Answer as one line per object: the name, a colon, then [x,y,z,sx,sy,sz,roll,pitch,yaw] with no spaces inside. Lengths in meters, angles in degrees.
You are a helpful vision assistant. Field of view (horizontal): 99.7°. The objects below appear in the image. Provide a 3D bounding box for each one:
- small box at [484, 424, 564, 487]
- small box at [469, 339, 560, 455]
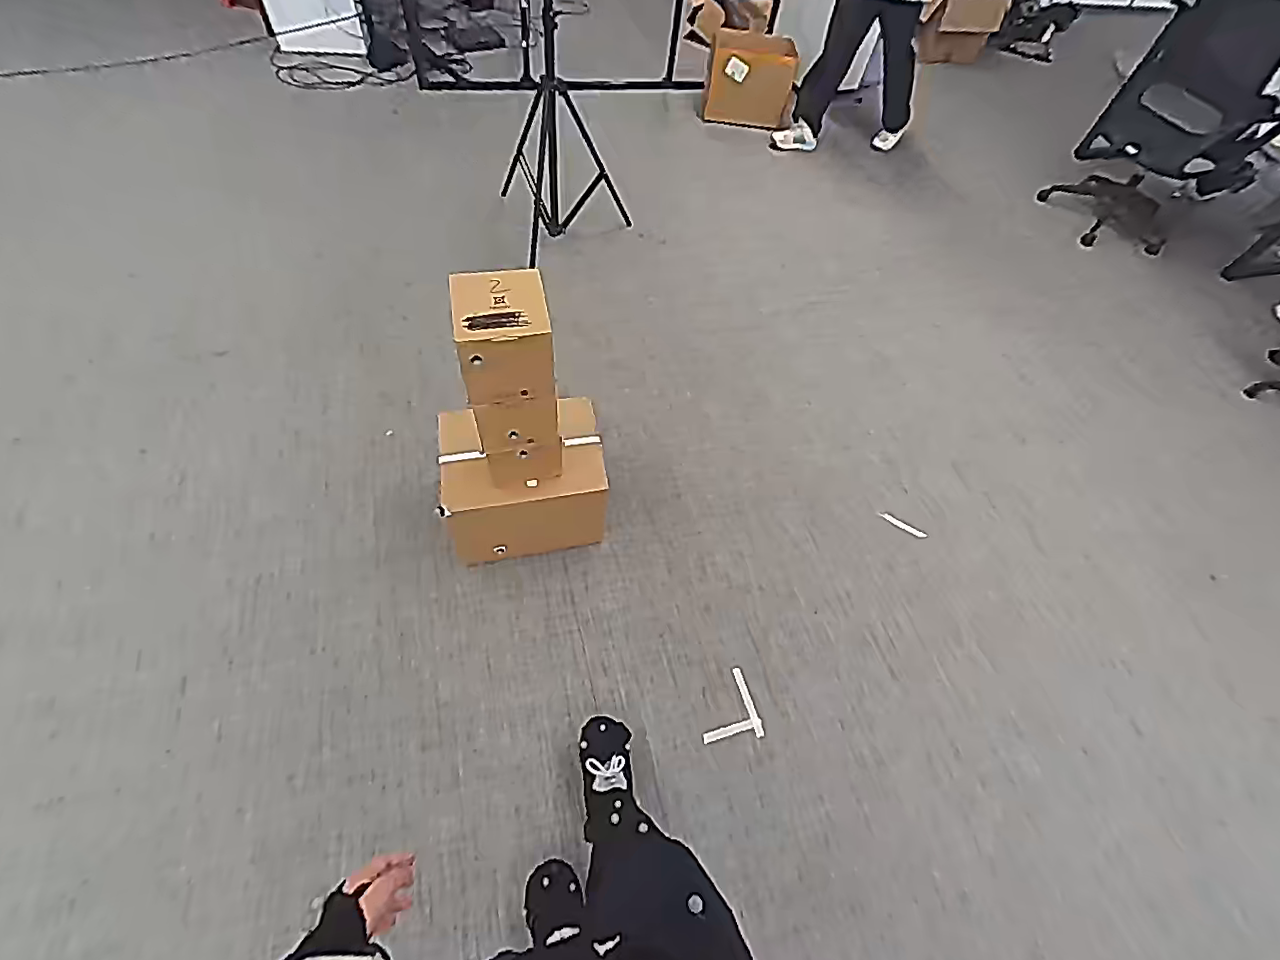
small box: [-0.284,-0.100,1.312,0.179,0.176,0.168,-10,61,-14]
small box: [-0.269,-0.178,1.171,0.168,0.176,0.179,-10,61,-13]
